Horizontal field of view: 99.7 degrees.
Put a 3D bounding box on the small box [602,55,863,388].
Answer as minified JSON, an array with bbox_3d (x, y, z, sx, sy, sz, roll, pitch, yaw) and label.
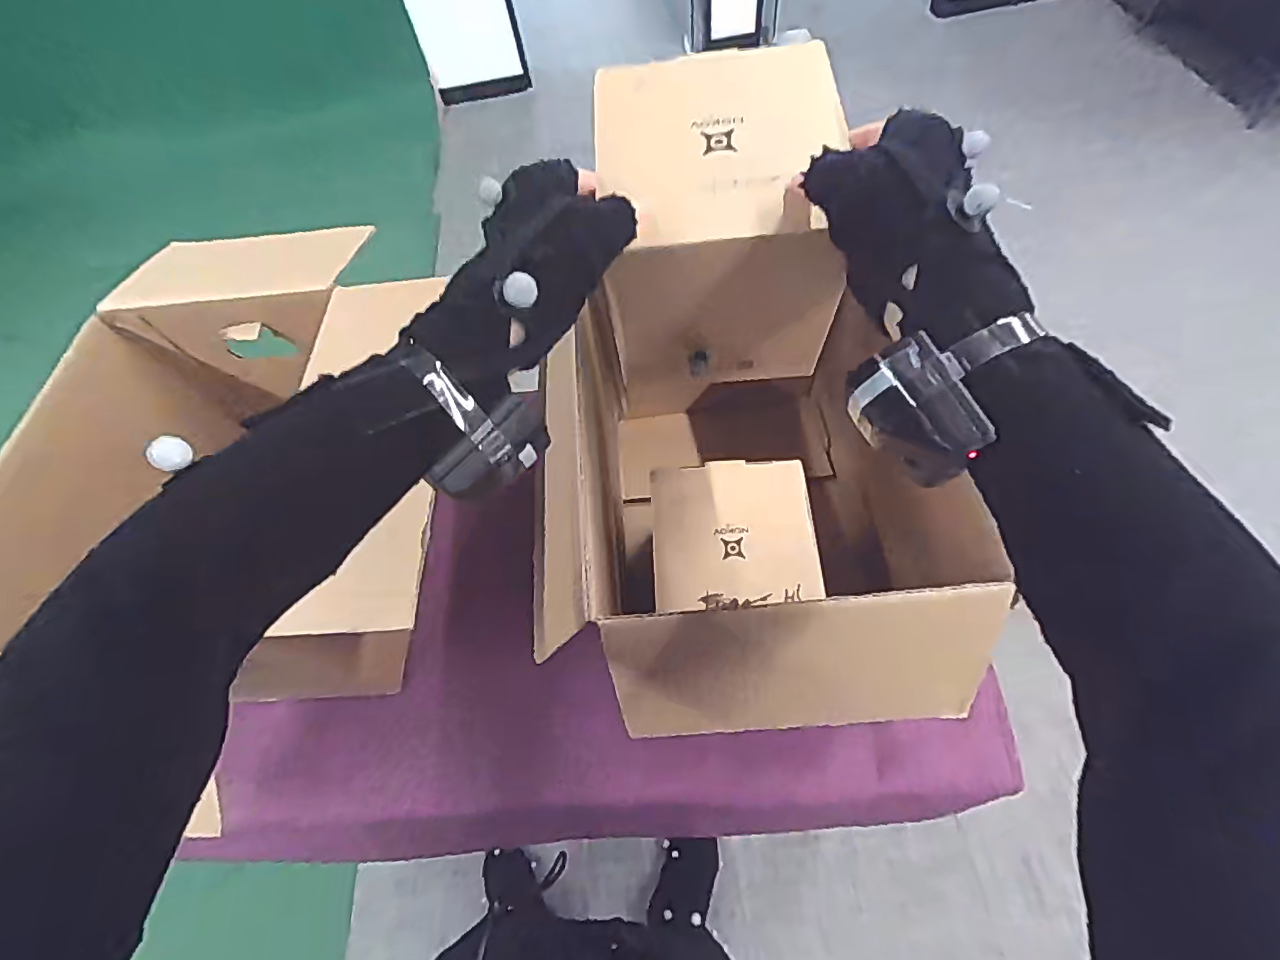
[{"bbox_3d":[0.062,-0.197,0.443,0.168,0.176,0.179,-4,68,5],"label":"small box"}]
